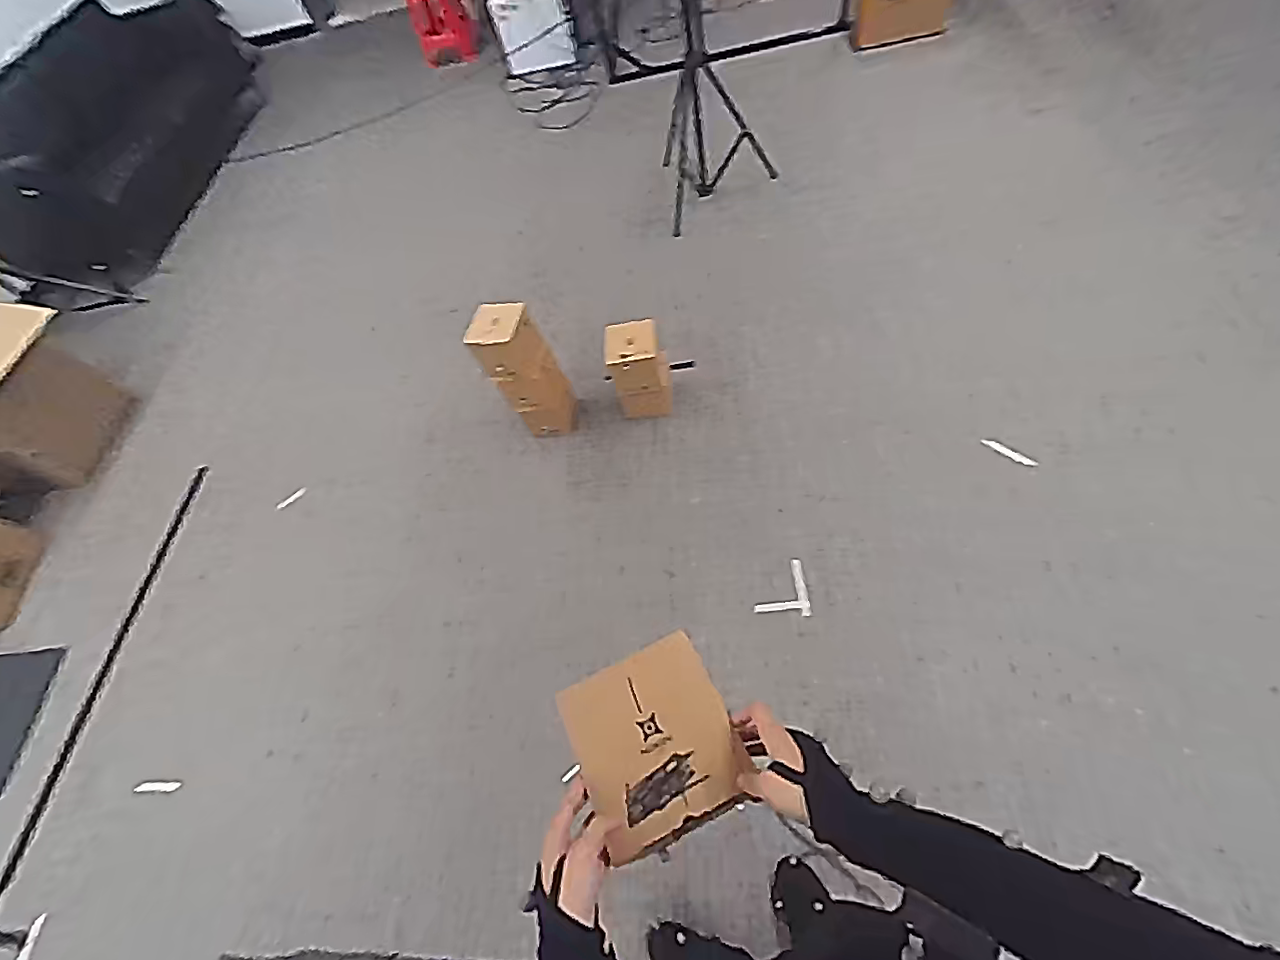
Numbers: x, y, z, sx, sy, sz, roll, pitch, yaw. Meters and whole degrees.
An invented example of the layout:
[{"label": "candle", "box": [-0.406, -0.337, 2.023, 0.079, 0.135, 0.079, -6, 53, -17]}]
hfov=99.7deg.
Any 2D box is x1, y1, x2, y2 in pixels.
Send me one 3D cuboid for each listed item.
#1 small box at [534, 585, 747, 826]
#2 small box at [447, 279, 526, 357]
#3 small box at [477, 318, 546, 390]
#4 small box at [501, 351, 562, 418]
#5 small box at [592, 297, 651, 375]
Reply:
[{"label": "small box", "box": [0.006, 0.250, 0.598, 0.168, 0.176, 0.179, -25, 57, -6]}, {"label": "small box", "box": [-0.487, -0.522, 1.747, 0.168, 0.176, 0.179, 3, 62, 16]}, {"label": "small box", "box": [-0.438, -0.434, 1.878, 0.168, 0.176, 0.179, -2, 60, 13]}, {"label": "small box", "box": [-0.396, -0.351, 2.011, 0.168, 0.176, 0.179, -4, 59, 11]}, {"label": "small box", "box": [-0.059, -0.481, 1.818, 0.168, 0.176, 0.179, -7, 58, 9]}]
